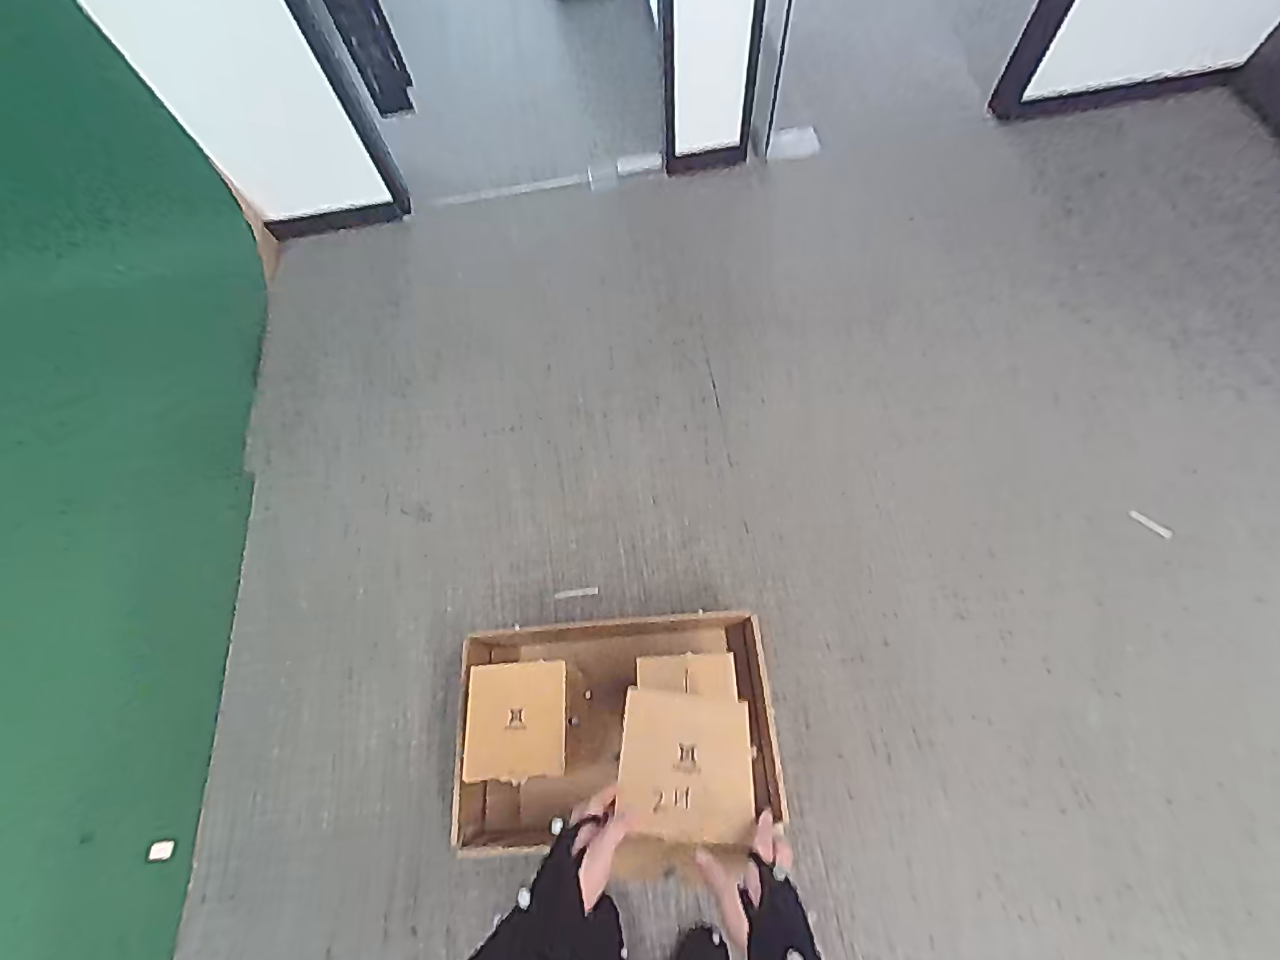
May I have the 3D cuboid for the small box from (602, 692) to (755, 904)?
[{"bbox_3d":[0.045,0.412,0.707,0.168,0.176,0.179,8,37,1],"label":"small box"}]

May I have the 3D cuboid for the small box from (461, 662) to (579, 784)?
[{"bbox_3d":[-0.201,0.426,0.950,0.168,0.176,0.179,-4,65,1],"label":"small box"}]

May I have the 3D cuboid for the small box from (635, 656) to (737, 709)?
[{"bbox_3d":[0.082,0.408,0.938,0.168,0.176,0.179,-4,64,3],"label":"small box"}]
